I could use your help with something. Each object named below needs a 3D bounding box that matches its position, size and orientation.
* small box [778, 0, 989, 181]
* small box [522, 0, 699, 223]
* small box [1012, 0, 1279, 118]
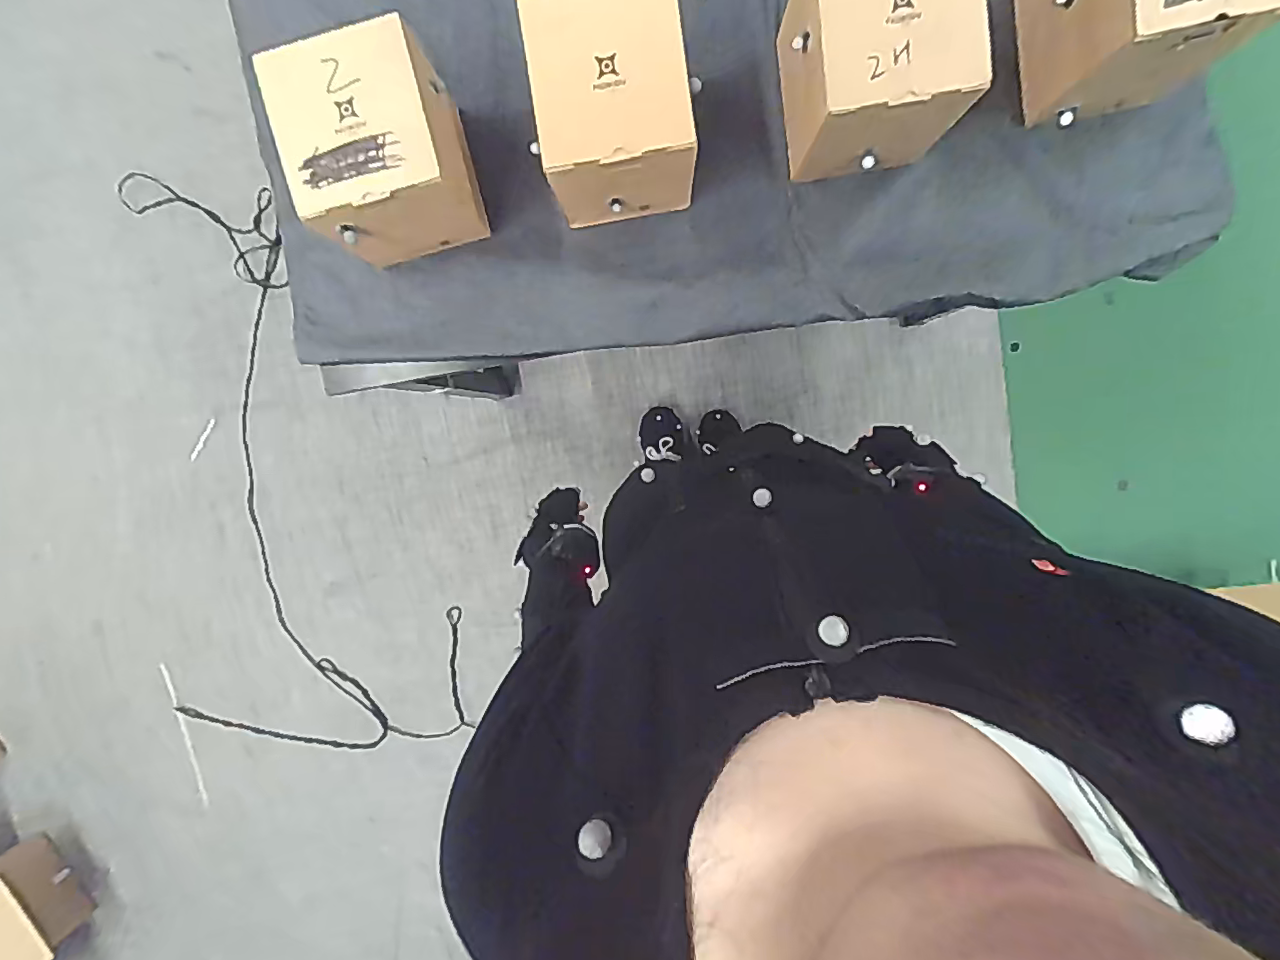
[{"bbox_3d":[0.264,-0.481,0.623,0.168,0.176,0.179,-8,96,3],"label":"small box"},{"bbox_3d":[-0.030,-0.433,0.639,0.168,0.176,0.179,-9,97,2],"label":"small box"},{"bbox_3d":[0.557,-0.542,0.607,0.168,0.176,0.179,-9,95,3],"label":"small box"}]
